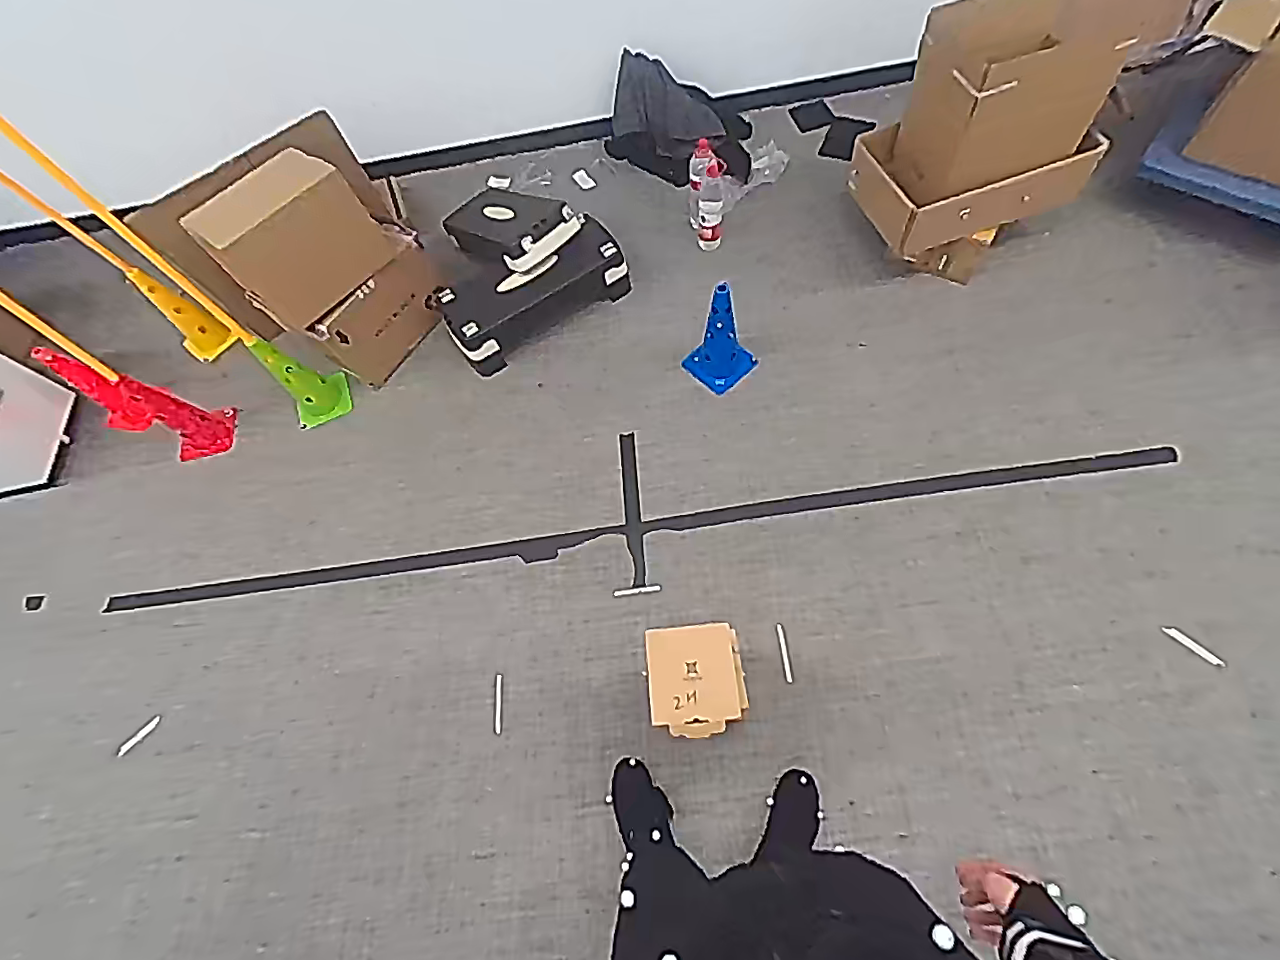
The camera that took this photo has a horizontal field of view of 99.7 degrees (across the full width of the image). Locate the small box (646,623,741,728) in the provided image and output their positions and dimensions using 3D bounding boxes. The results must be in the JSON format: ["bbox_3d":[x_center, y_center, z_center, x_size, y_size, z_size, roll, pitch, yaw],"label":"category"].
[{"bbox_3d":[0.104,0.395,1.082,0.168,0.176,0.179,-6,65,4],"label":"small box"}]
